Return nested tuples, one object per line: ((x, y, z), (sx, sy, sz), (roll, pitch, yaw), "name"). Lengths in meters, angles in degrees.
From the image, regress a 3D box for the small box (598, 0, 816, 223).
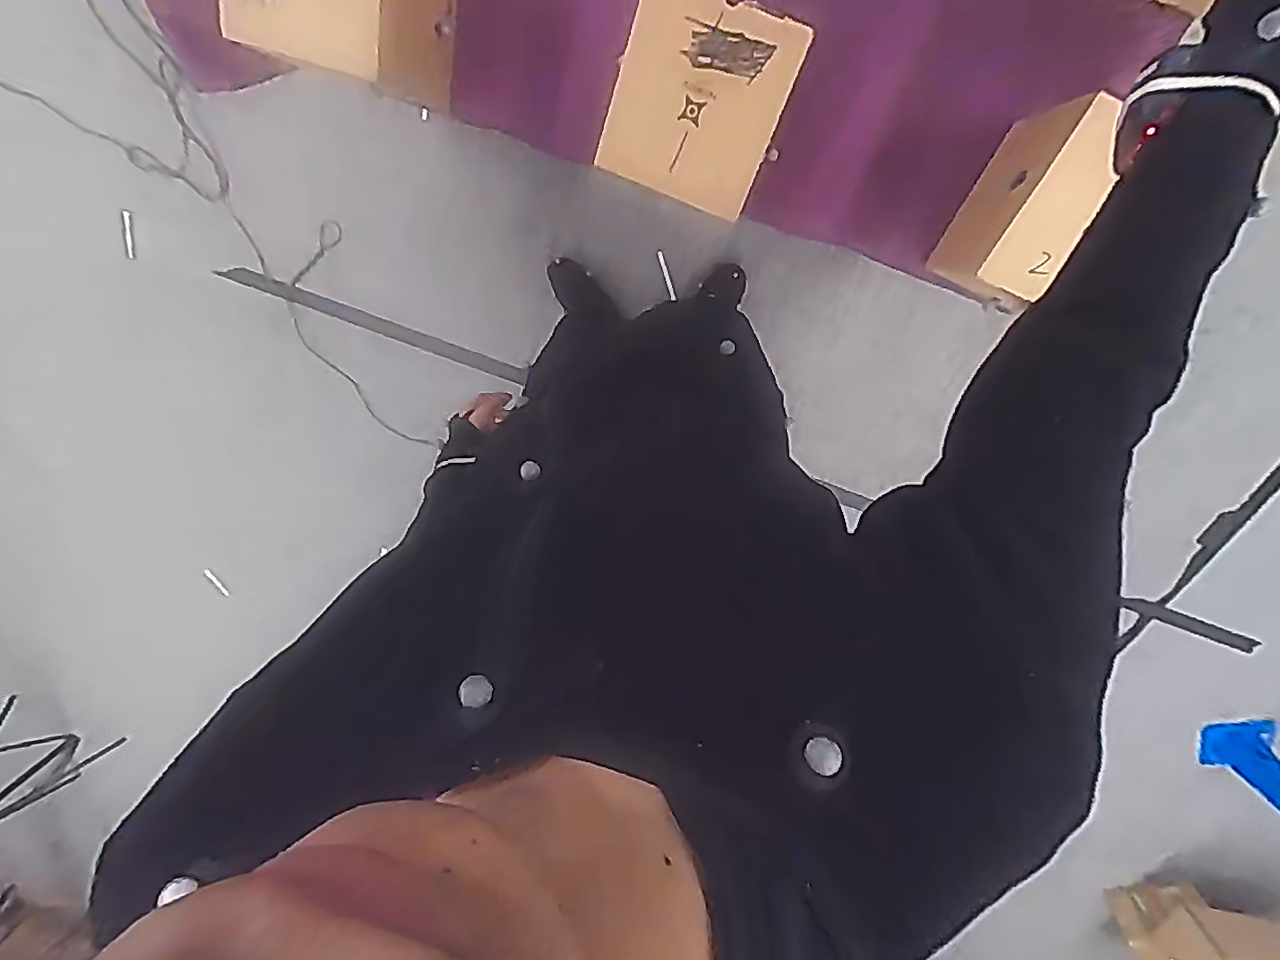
((0.071, -0.409, 0.606), (0.168, 0.176, 0.179), (23, 117, -1), "small box")

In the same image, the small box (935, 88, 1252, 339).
((0.466, -0.283, 0.598), (0.168, 0.176, 0.179), (25, 116, -2), "small box")
